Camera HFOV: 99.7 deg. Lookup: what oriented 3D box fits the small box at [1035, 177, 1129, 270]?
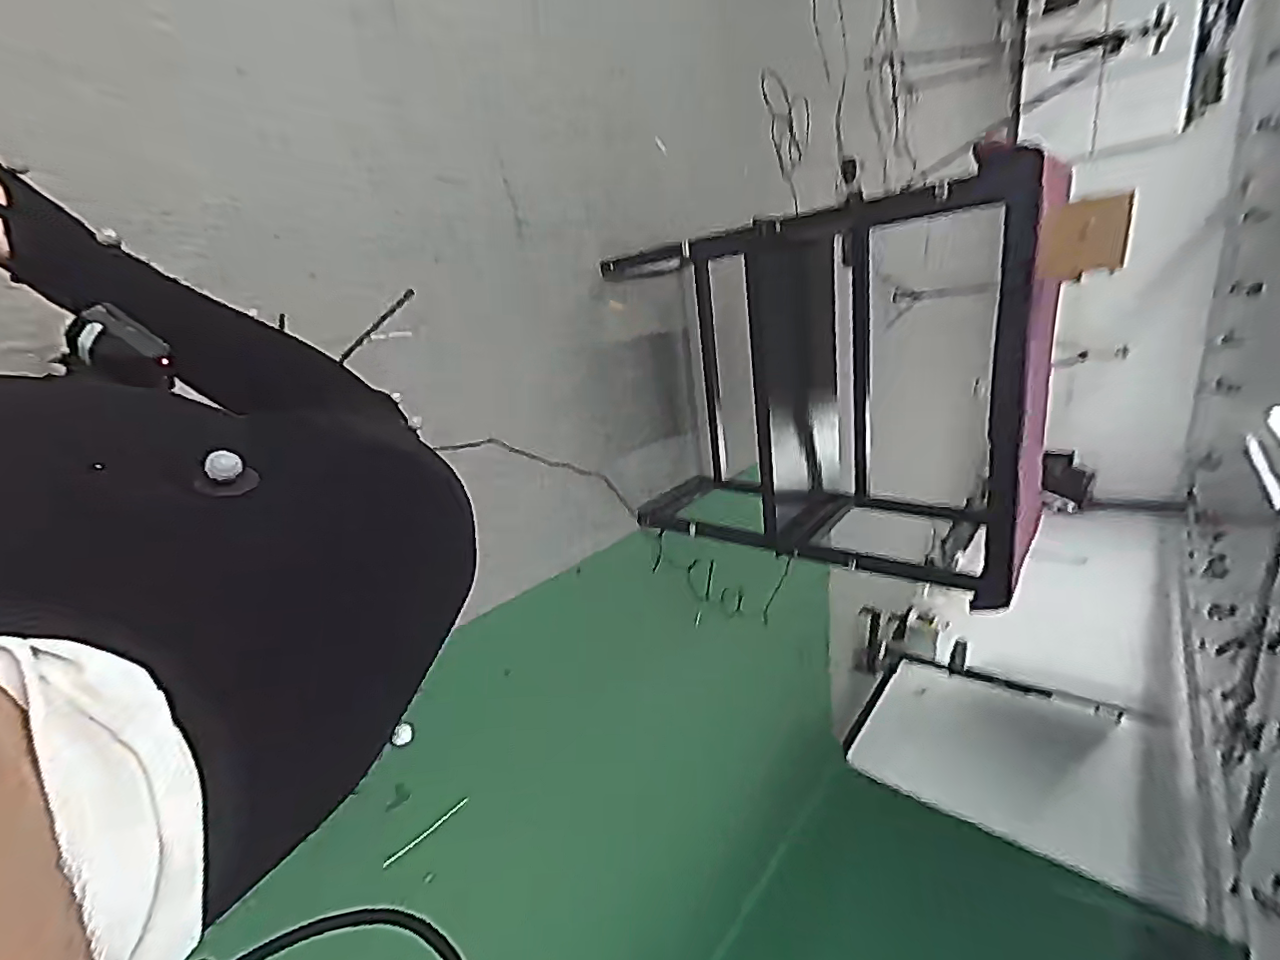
[{"bbox_3d":[1.108,-0.636,1.359,0.168,0.176,0.179,-23,112,-45],"label":"small box"}]
